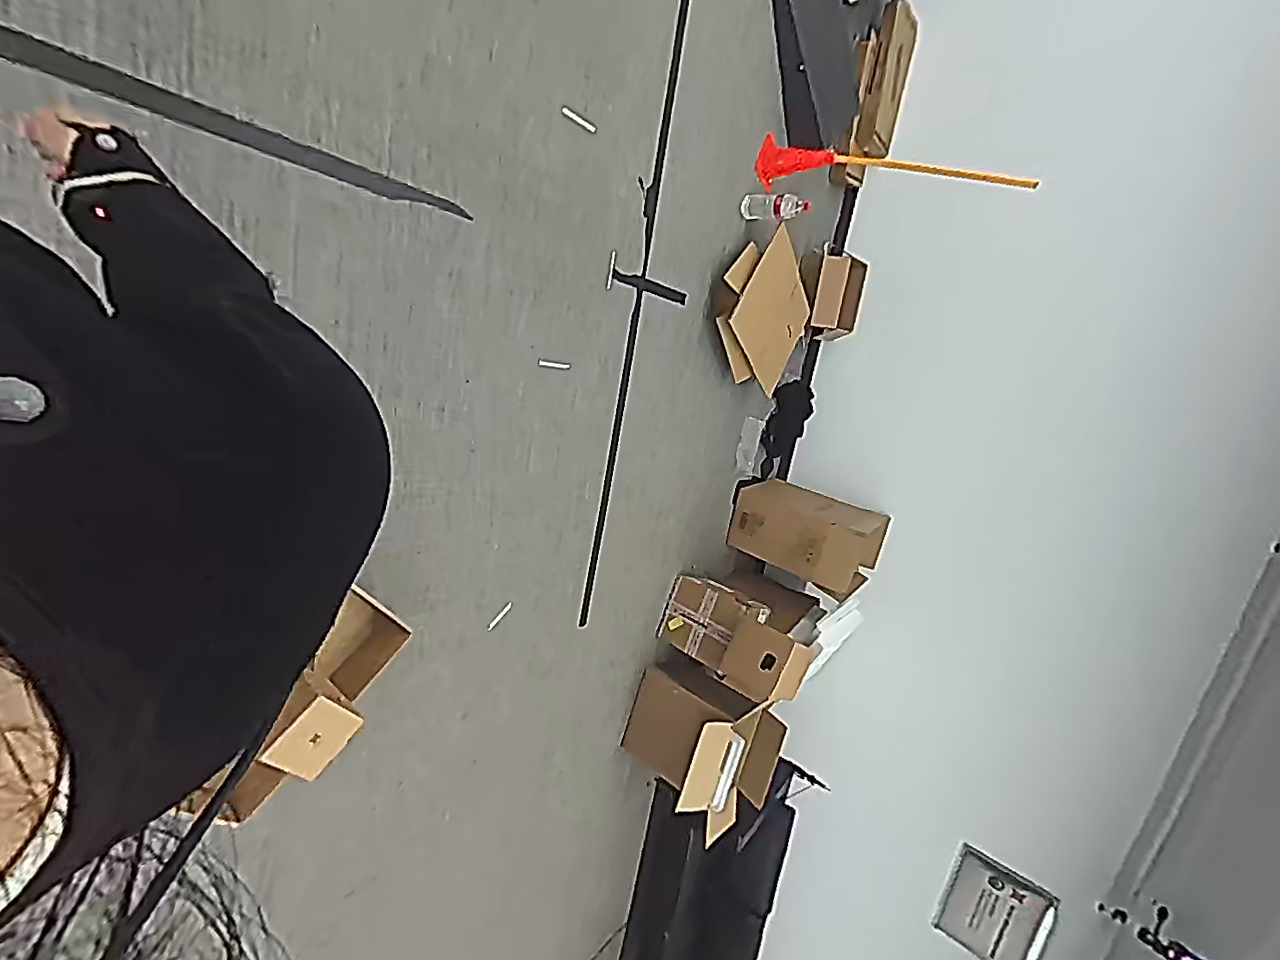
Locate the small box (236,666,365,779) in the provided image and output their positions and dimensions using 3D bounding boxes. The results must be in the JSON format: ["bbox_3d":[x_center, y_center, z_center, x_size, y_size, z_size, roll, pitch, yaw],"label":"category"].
[{"bbox_3d":[-0.823,0.583,1.315,0.168,0.176,0.179,-51,141,-26],"label":"small box"}]
